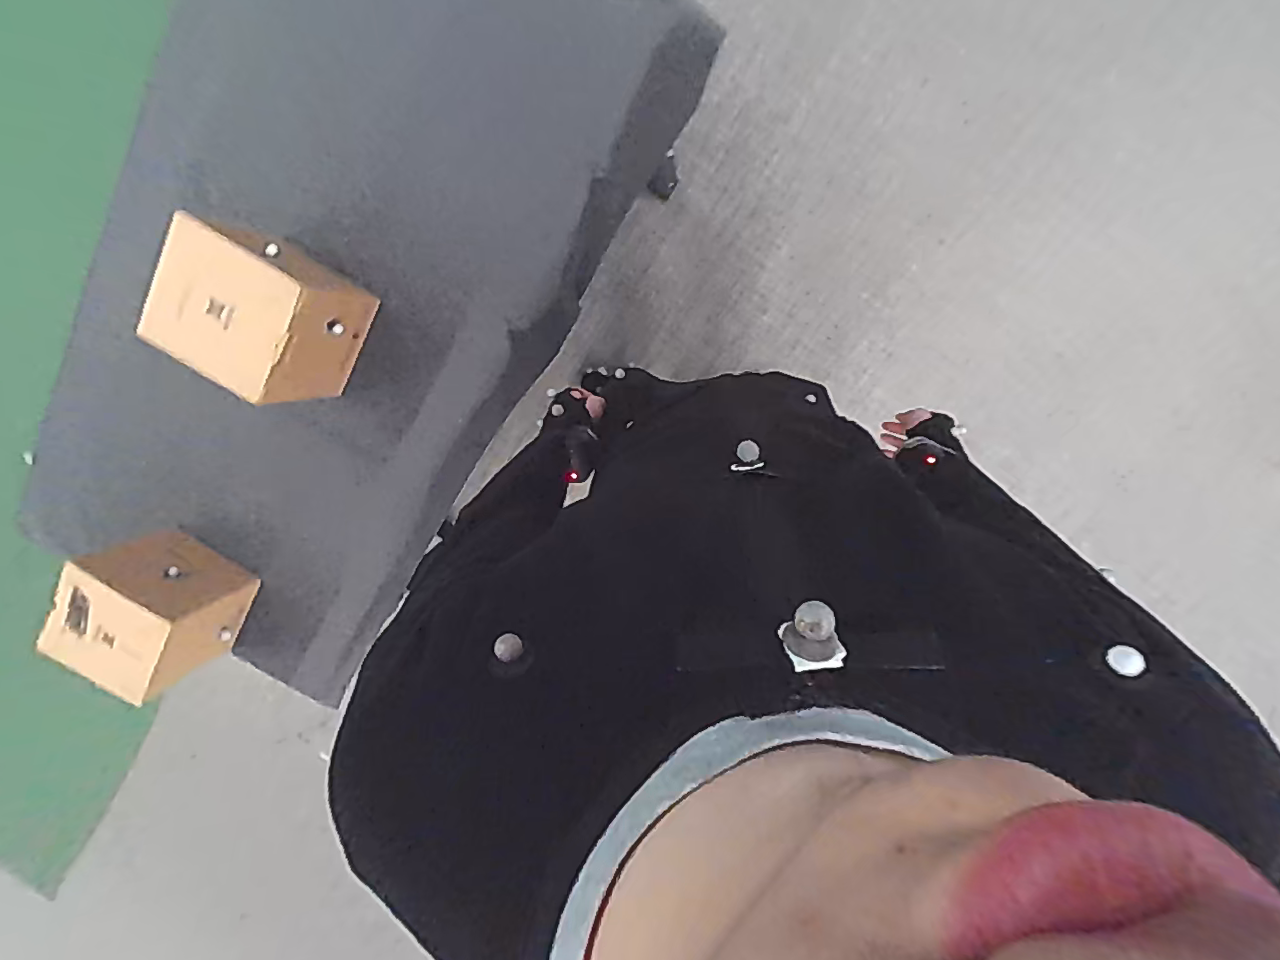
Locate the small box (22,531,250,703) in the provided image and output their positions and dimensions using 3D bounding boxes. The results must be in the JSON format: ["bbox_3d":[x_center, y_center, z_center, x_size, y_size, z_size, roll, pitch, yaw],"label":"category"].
[{"bbox_3d":[-0.771,0.199,0.844,0.179,0.176,0.168,32,104,-2],"label":"small box"}]

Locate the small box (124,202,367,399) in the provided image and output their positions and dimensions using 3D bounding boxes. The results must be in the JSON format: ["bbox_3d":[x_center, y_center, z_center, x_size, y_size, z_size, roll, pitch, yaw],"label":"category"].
[{"bbox_3d":[-0.506,-0.228,0.718,0.179,0.176,0.168,31,103,-1],"label":"small box"}]
